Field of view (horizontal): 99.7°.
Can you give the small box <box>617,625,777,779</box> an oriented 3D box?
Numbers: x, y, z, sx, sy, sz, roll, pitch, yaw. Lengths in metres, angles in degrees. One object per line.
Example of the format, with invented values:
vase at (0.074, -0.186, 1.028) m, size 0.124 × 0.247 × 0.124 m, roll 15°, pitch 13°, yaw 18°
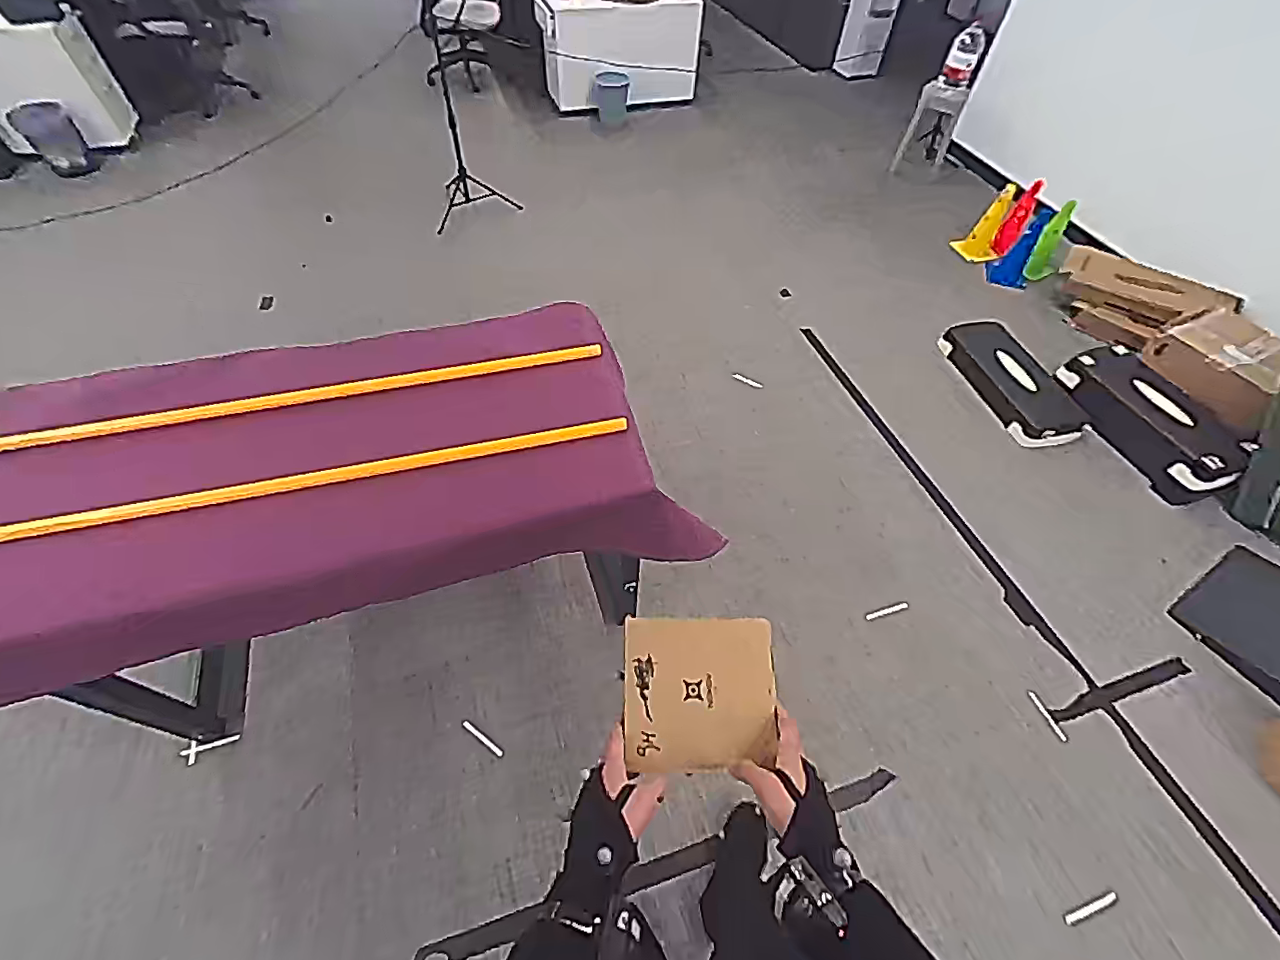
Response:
small box at (0.062, 0.281, 0.699) m, size 0.179 × 0.176 × 0.168 m, roll 1°, pitch 69°, yaw -3°
